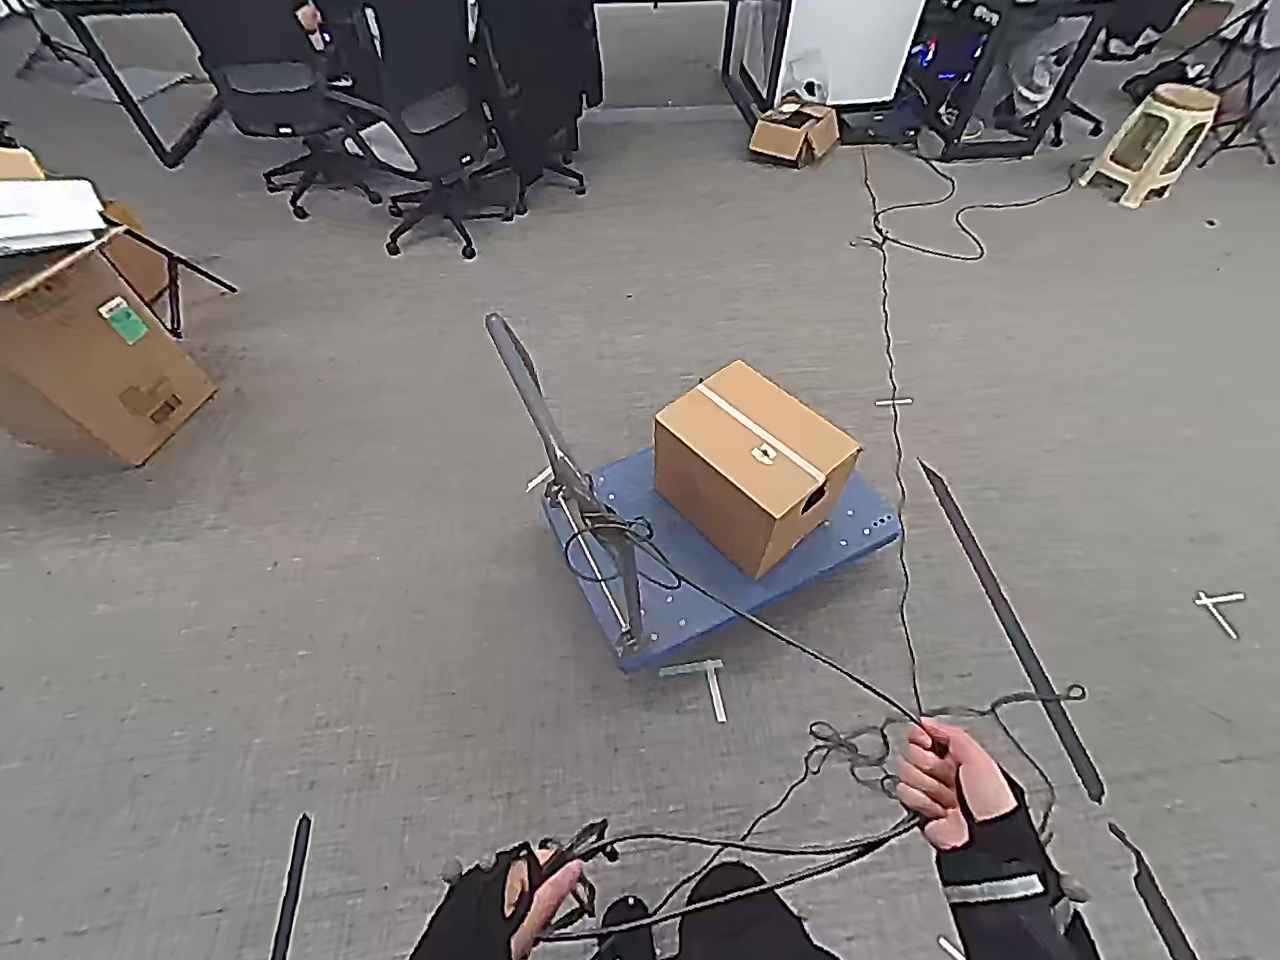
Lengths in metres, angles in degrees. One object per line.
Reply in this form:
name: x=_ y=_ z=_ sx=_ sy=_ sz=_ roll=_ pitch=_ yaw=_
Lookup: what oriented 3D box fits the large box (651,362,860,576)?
large box: x=0.274 y=-0.031 z=1.419 sx=0.320 sy=0.320 sz=0.408 roll=-36 pitch=63 yaw=-22
